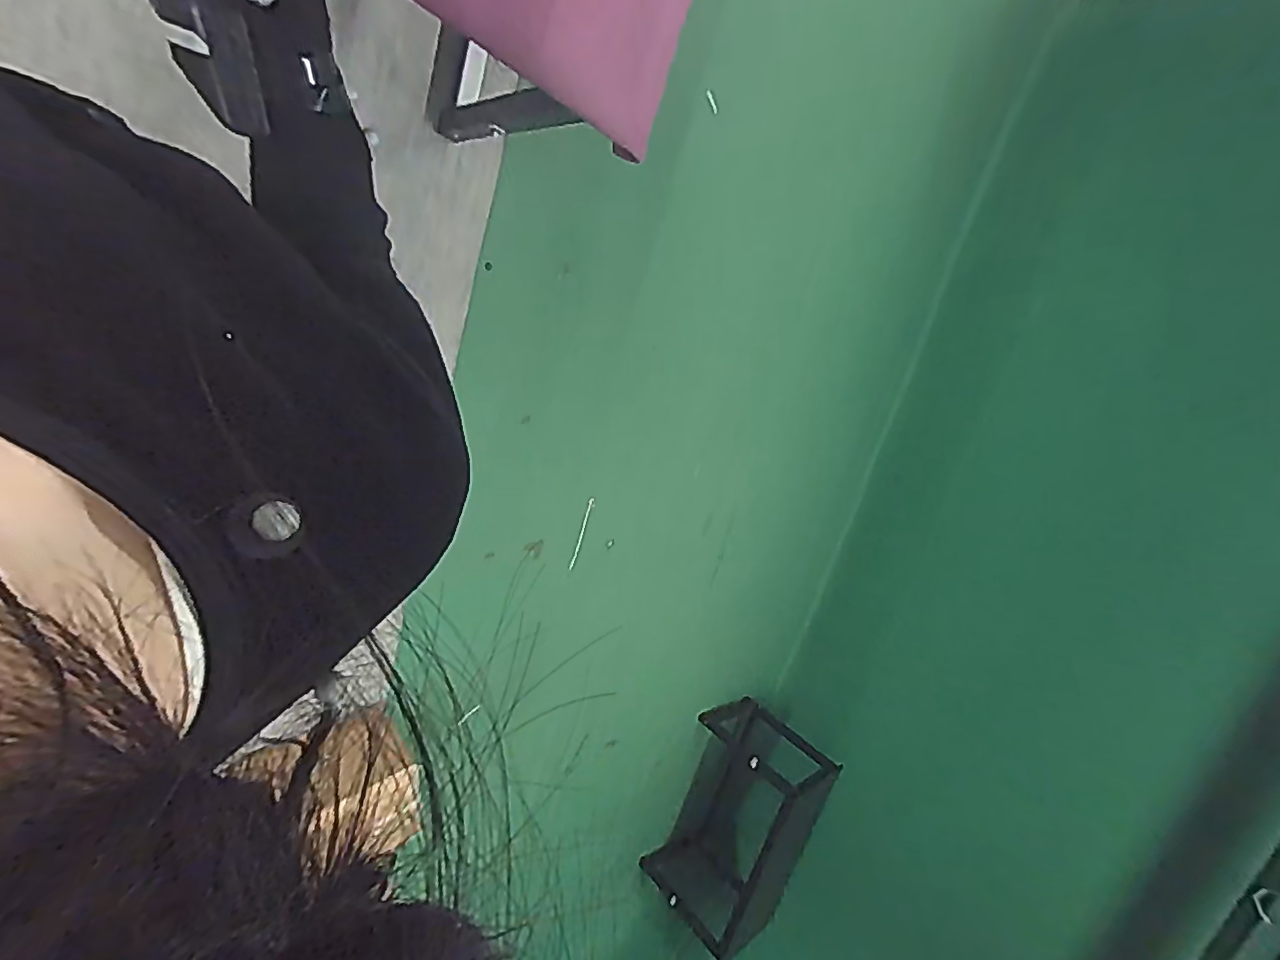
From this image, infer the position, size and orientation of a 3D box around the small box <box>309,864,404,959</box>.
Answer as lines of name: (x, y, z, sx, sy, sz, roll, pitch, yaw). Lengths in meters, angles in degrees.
small box: (-0.691, 1.106, 1.322, 0.179, 0.176, 0.168, -14, 119, -40)

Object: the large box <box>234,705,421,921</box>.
large box: (-0.927, 0.967, 1.627, 0.408, 0.320, 0.320, -14, 121, -41)

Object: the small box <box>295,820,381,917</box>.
small box: (-0.796, 1.046, 1.432, 0.168, 0.176, 0.179, -13, 119, -40)
